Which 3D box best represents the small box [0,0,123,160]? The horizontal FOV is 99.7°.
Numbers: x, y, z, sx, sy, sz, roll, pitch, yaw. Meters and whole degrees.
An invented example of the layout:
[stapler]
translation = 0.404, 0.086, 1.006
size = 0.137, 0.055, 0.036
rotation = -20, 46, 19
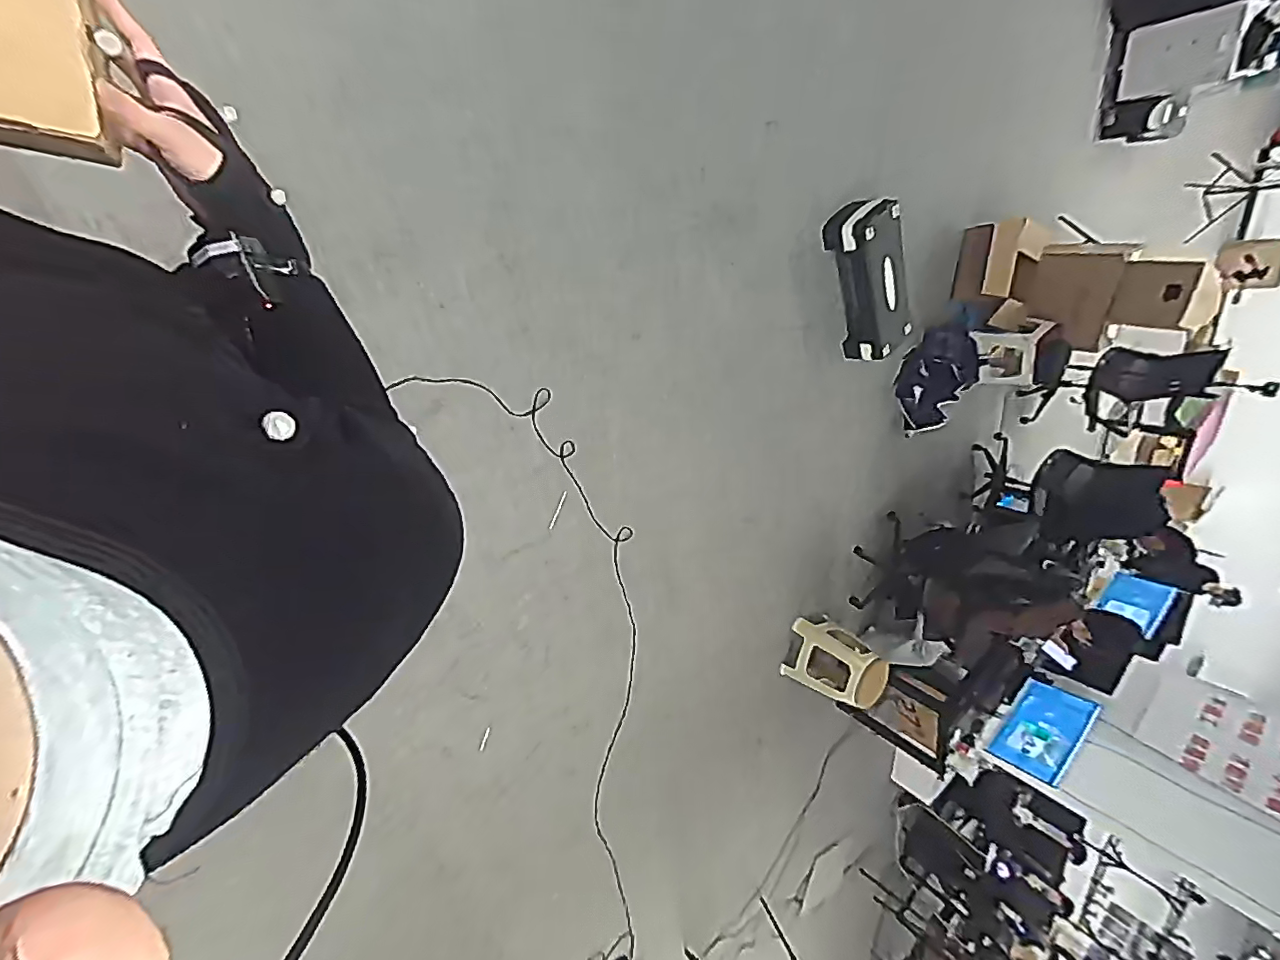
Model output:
[small box]
translation = -0.440, -0.312, 0.326
size = 0.168, 0.176, 0.179
rotation = -8, 115, -40
